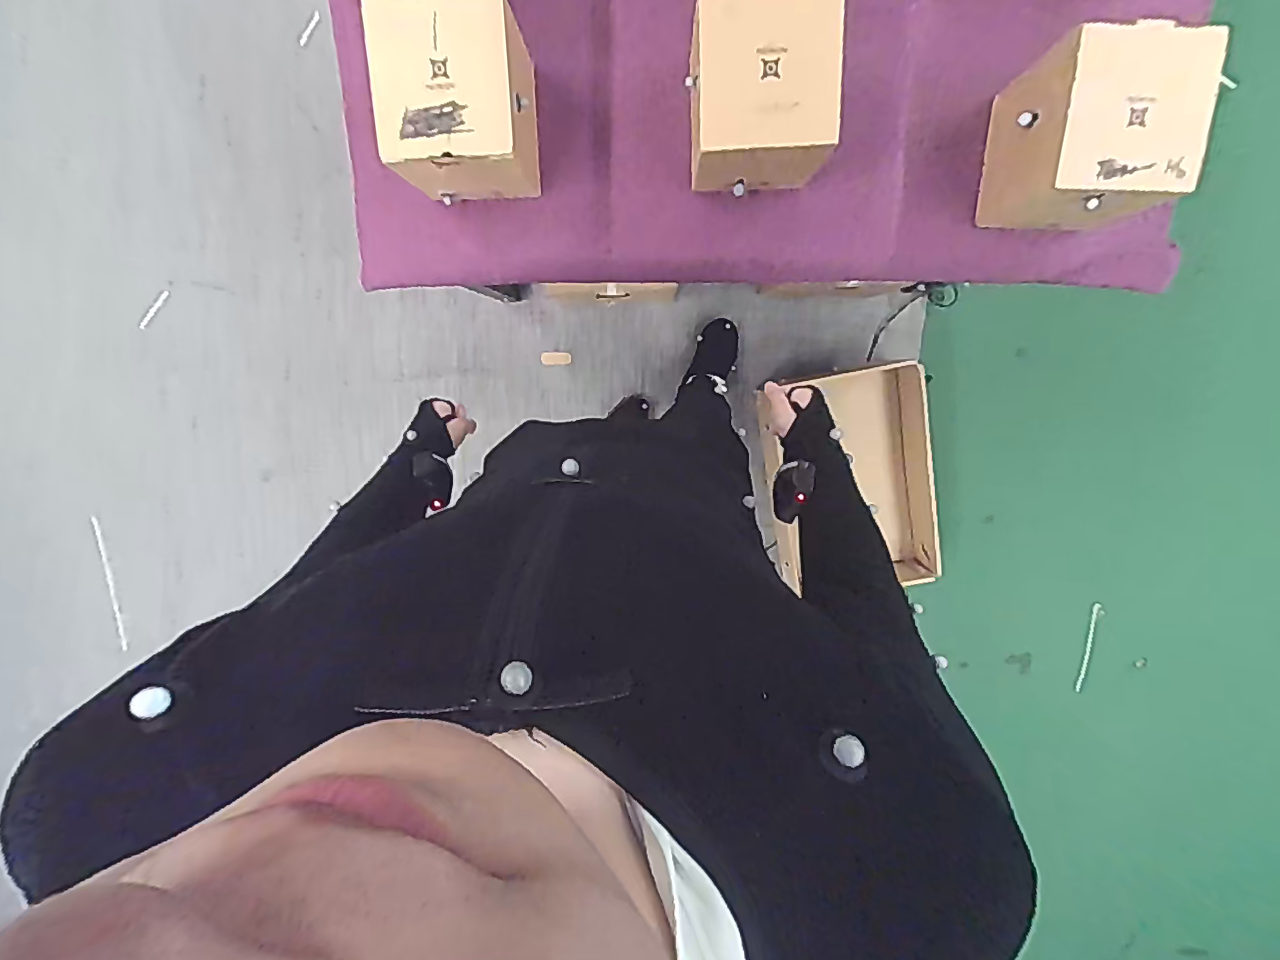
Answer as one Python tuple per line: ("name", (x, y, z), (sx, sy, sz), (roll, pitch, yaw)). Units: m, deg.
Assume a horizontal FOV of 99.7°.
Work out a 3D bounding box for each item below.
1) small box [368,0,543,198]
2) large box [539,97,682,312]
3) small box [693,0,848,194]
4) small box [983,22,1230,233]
("small box", (-0.227, -0.485, 0.711), (0.168, 0.176, 0.179), (-1, 101, 1))
("large box", (-0.065, -0.650, 1.350), (0.320, 0.320, 0.408), (-2, 101, 1))
("small box", (0.157, -0.494, 0.702), (0.168, 0.176, 0.179), (-1, 102, 2))
("small box", (0.580, -0.440, 0.700), (0.168, 0.176, 0.179), (3, 100, 3))
